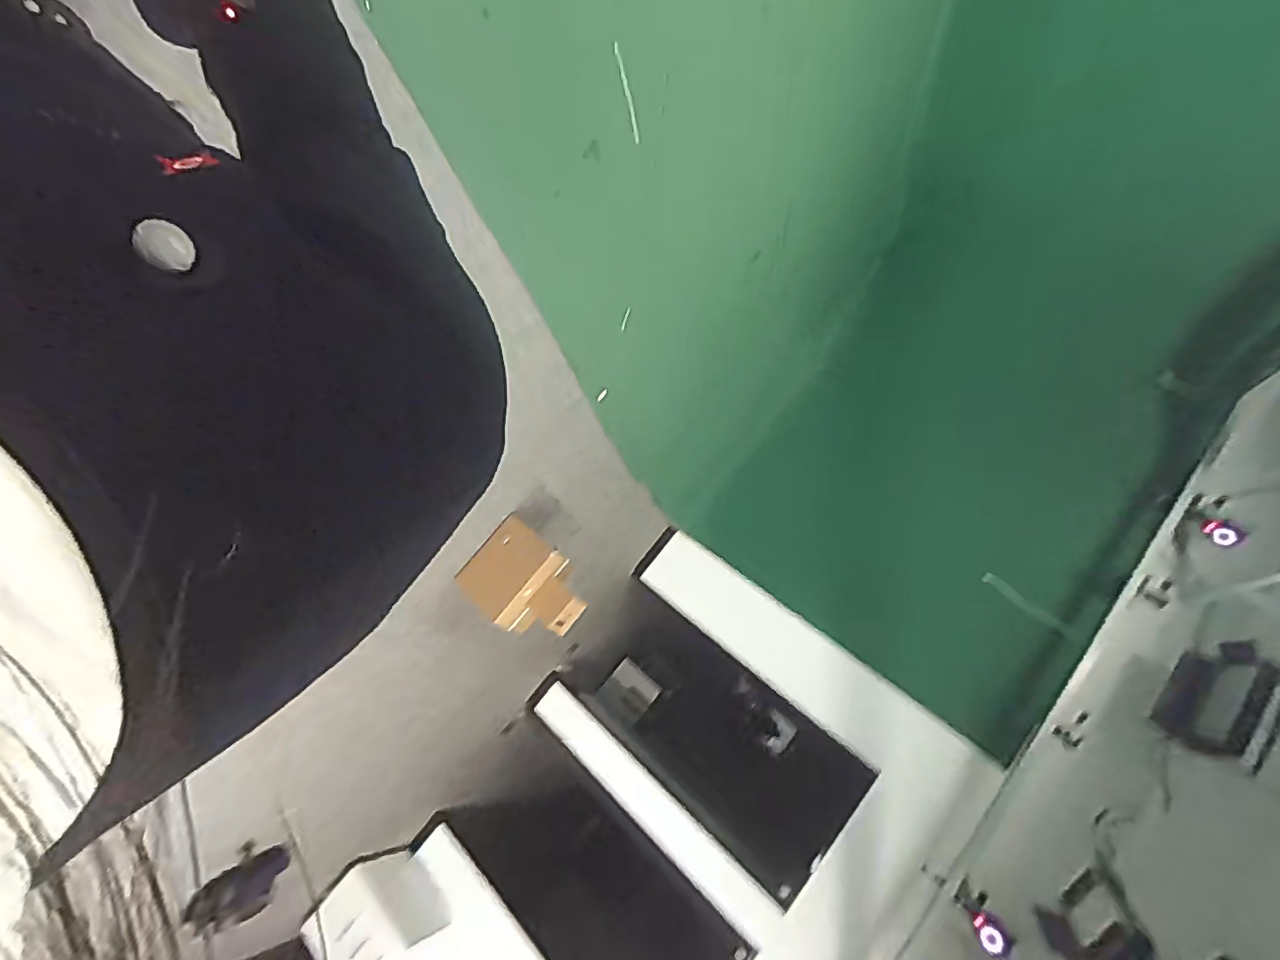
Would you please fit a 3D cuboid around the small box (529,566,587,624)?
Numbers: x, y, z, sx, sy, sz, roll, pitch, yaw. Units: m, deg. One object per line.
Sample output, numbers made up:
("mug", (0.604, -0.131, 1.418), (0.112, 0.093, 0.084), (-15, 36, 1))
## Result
("small box", (-0.385, 0.529, 2.483), (0.179, 0.176, 0.168), (-49, 149, -8))
